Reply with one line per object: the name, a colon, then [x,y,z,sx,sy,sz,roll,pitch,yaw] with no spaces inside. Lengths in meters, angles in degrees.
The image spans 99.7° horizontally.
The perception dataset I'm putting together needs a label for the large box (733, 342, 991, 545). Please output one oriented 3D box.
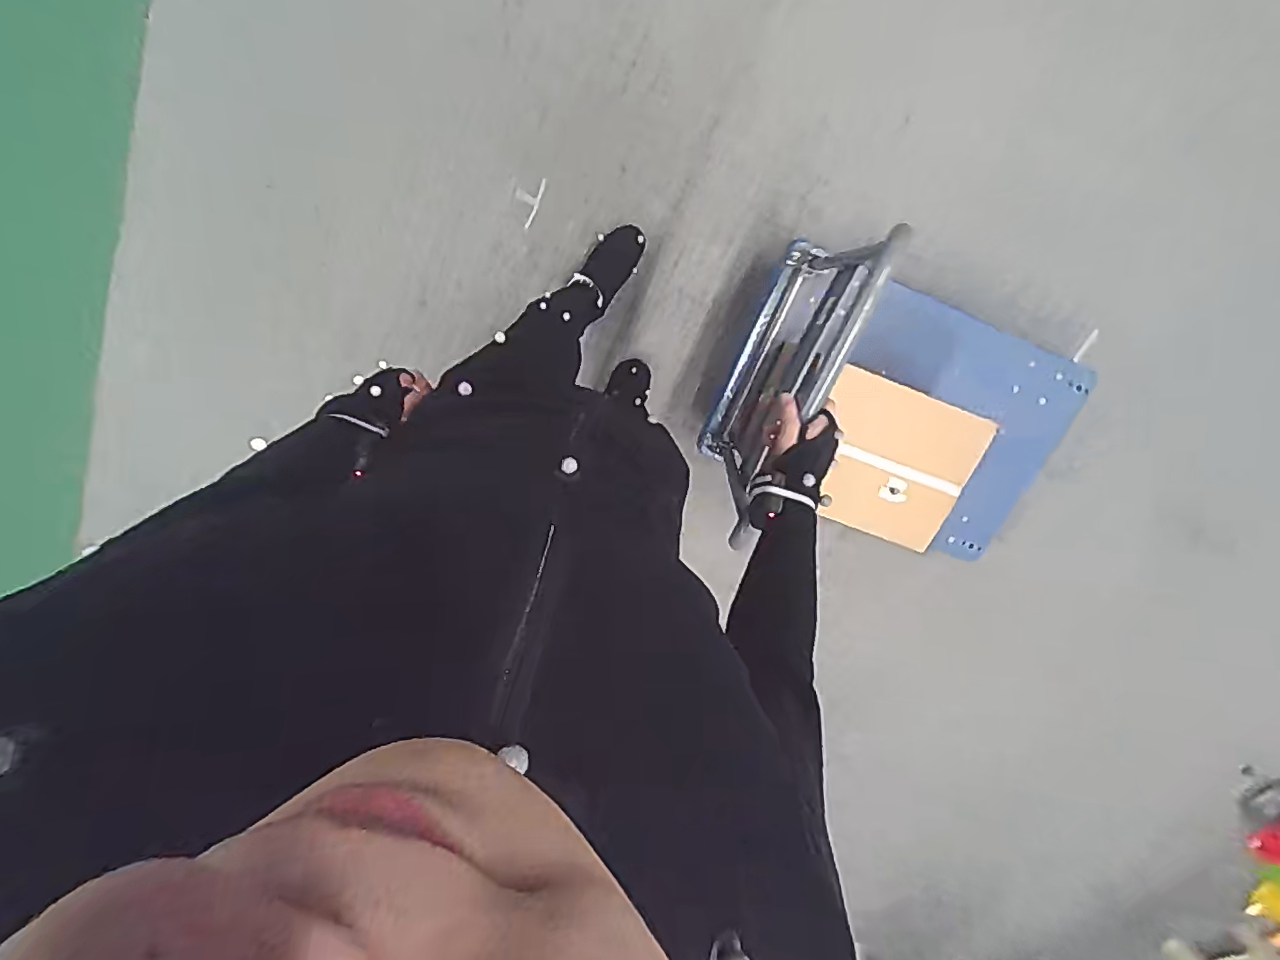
large box: [0.480,-0.101,1.267,0.408,0.320,0.320,20,109,-7]
